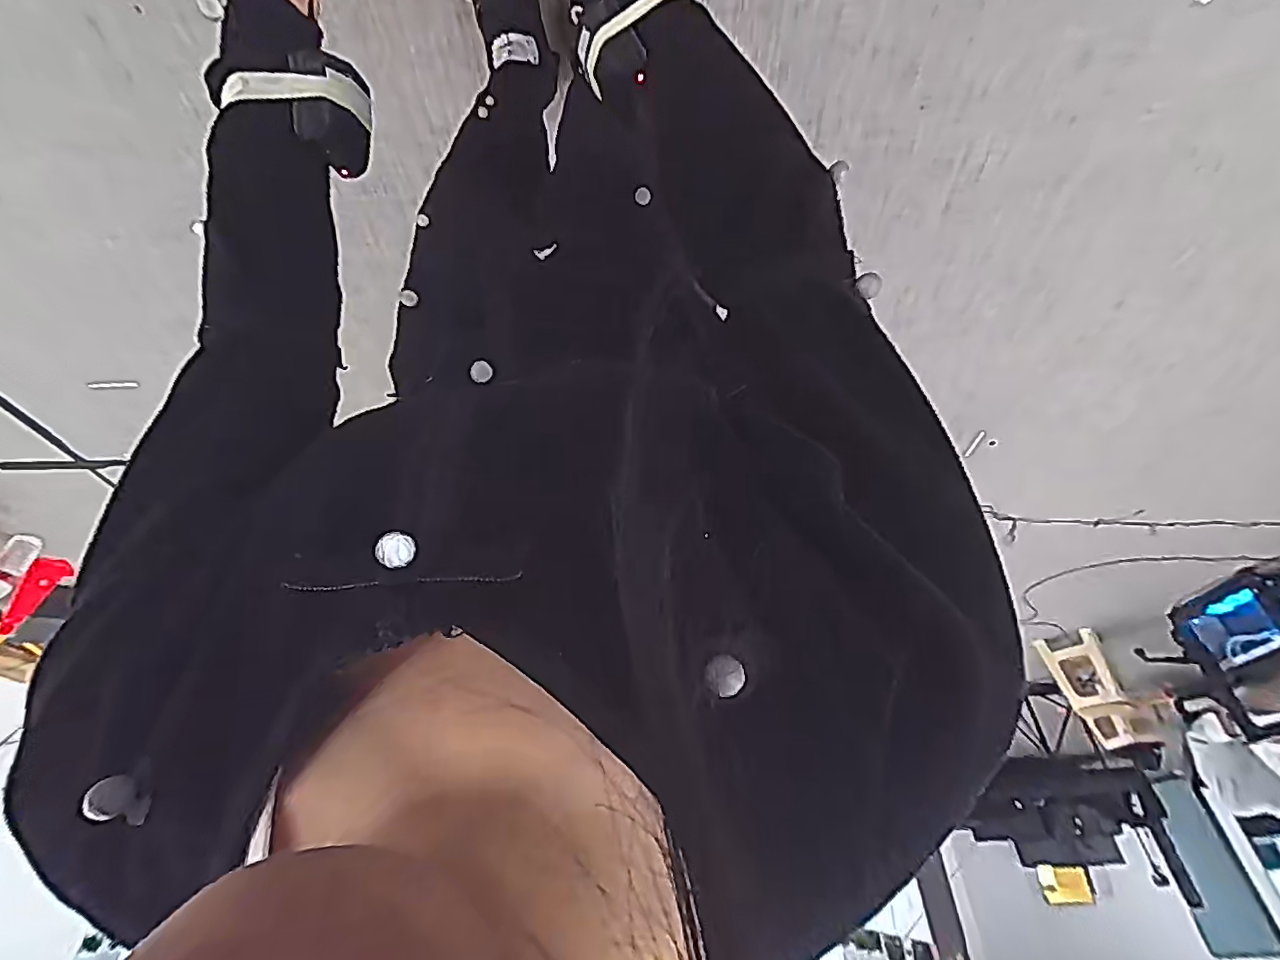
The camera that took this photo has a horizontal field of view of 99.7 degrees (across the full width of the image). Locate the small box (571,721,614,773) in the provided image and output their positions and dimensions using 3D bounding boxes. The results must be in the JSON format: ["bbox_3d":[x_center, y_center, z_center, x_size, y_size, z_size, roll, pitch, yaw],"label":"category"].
[{"bbox_3d":[-0.195,1.110,2.252,0.168,0.176,0.179,-1,143,1],"label":"small box"}]

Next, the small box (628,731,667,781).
[{"bbox_3d":[0.032,1.222,2.399,0.168,0.176,0.179,-2,140,2],"label":"small box"}]
